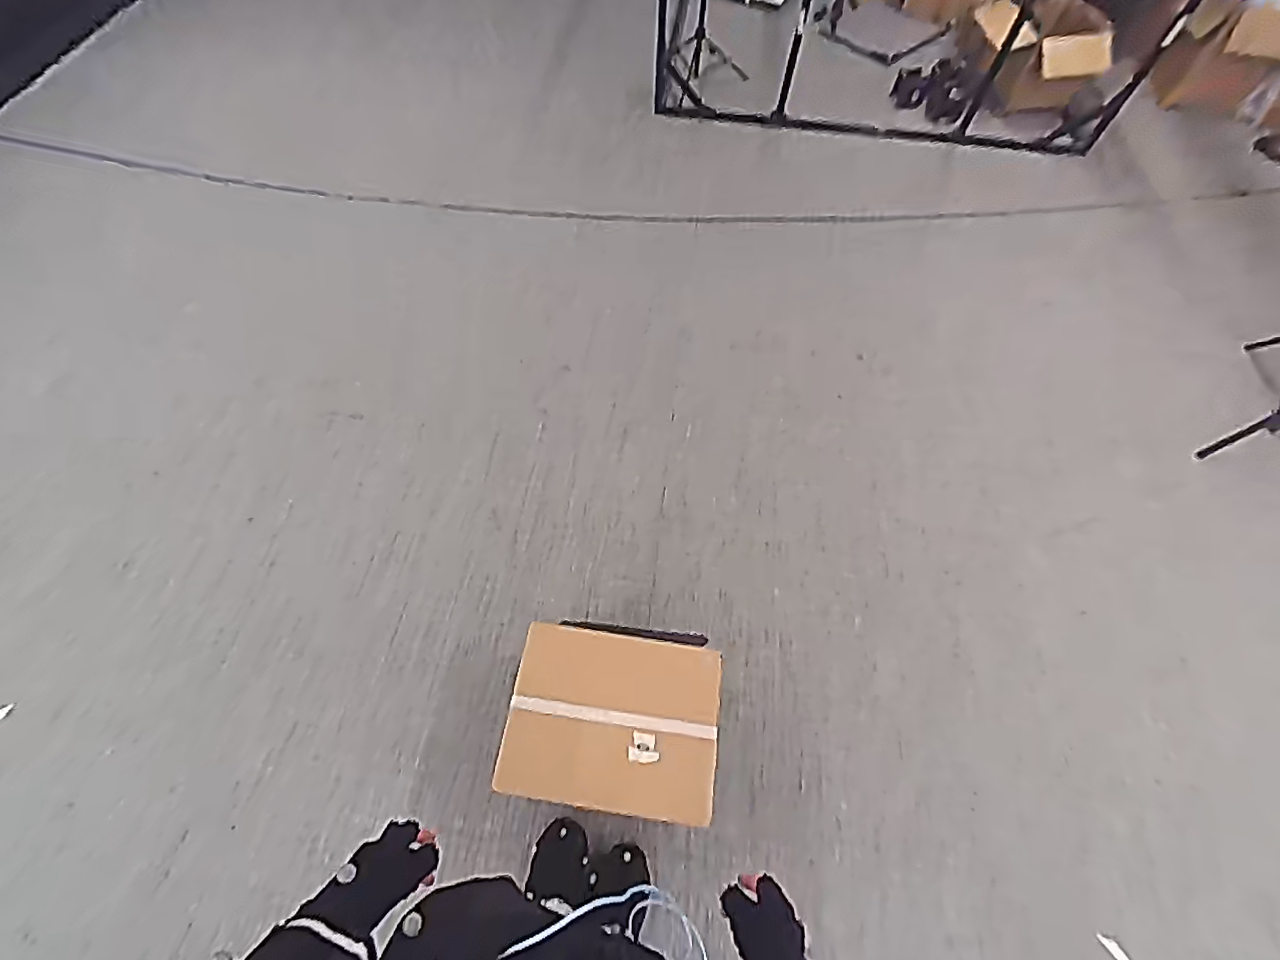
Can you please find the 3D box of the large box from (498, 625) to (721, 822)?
[{"bbox_3d":[-0.055,0.532,1.185,0.408,0.320,0.320,9,62,2],"label":"large box"}]
